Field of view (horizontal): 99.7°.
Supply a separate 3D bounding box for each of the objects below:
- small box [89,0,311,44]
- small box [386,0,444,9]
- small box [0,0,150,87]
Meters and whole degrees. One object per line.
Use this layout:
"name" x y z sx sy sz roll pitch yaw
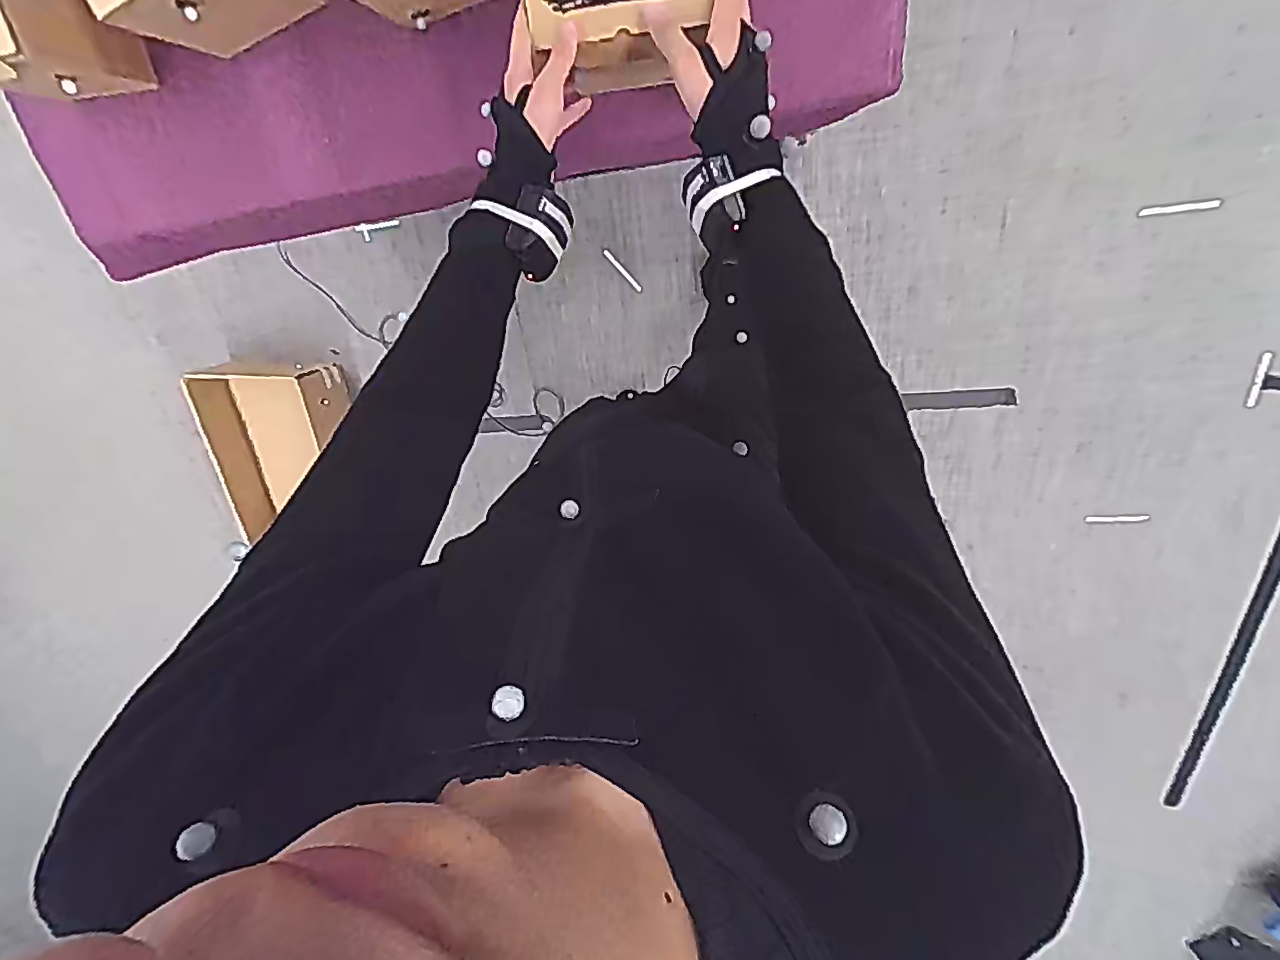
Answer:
"small box" -0.498 -0.613 0.582 0.179 0.176 0.168 -12 114 15
"small box" -0.236 -0.612 0.536 0.168 0.176 0.179 -8 114 14
"small box" -0.751 -0.587 0.640 0.168 0.176 0.179 1 116 9
